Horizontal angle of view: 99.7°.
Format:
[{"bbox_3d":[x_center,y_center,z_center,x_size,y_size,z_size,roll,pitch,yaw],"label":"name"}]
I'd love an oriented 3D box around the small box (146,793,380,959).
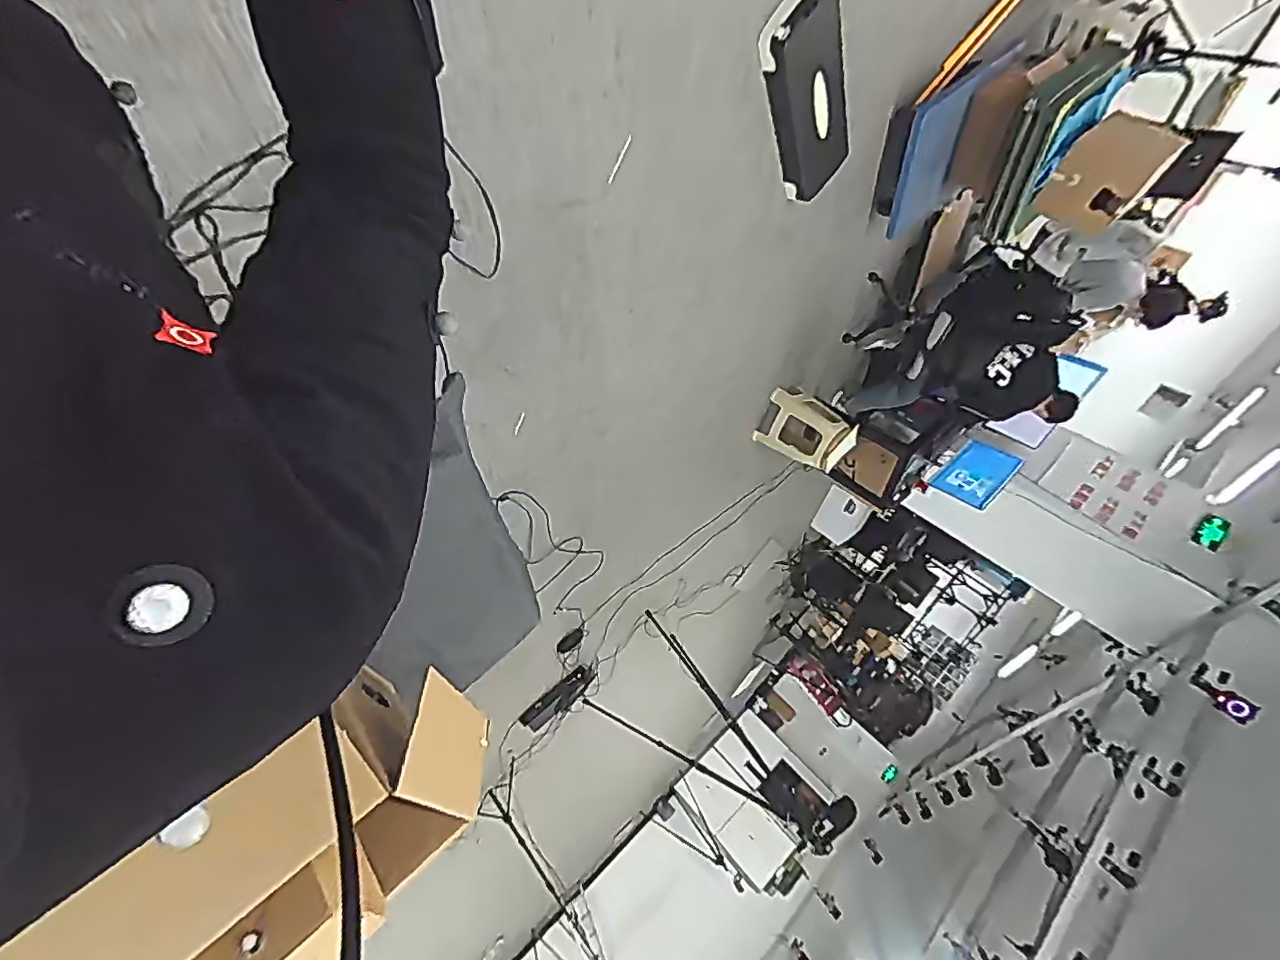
[{"bbox_3d":[-0.478,0.546,0.691,0.179,0.176,0.168,-37,148,-23],"label":"small box"}]
